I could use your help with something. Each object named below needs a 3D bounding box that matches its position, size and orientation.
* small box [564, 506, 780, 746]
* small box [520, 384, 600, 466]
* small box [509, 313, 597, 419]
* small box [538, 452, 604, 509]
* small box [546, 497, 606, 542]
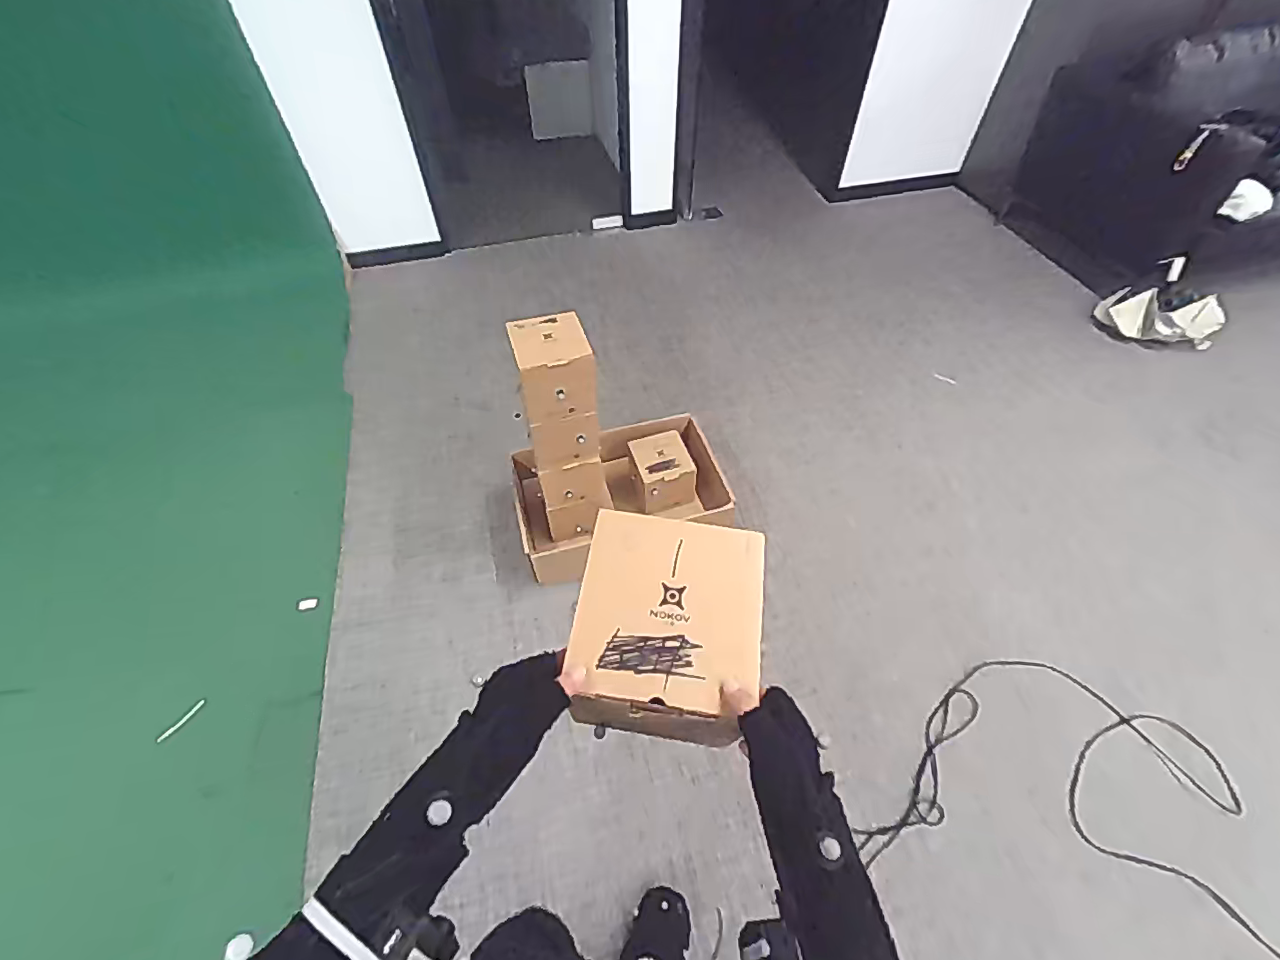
[{"bbox_3d":[0.032,0.154,0.543,0.168,0.176,0.179,12,59,4],"label":"small box"},{"bbox_3d":[-0.201,-0.152,1.383,0.168,0.176,0.179,-13,52,-12],"label":"small box"},{"bbox_3d":[-0.198,-0.259,1.258,0.168,0.176,0.179,-13,53,-13],"label":"small box"},{"bbox_3d":[-0.199,-0.045,1.507,0.168,0.176,0.179,-12,52,-11],"label":"small box"},{"bbox_3d":[-0.199,0.059,1.632,0.168,0.176,0.179,-11,52,-9],"label":"small box"}]
